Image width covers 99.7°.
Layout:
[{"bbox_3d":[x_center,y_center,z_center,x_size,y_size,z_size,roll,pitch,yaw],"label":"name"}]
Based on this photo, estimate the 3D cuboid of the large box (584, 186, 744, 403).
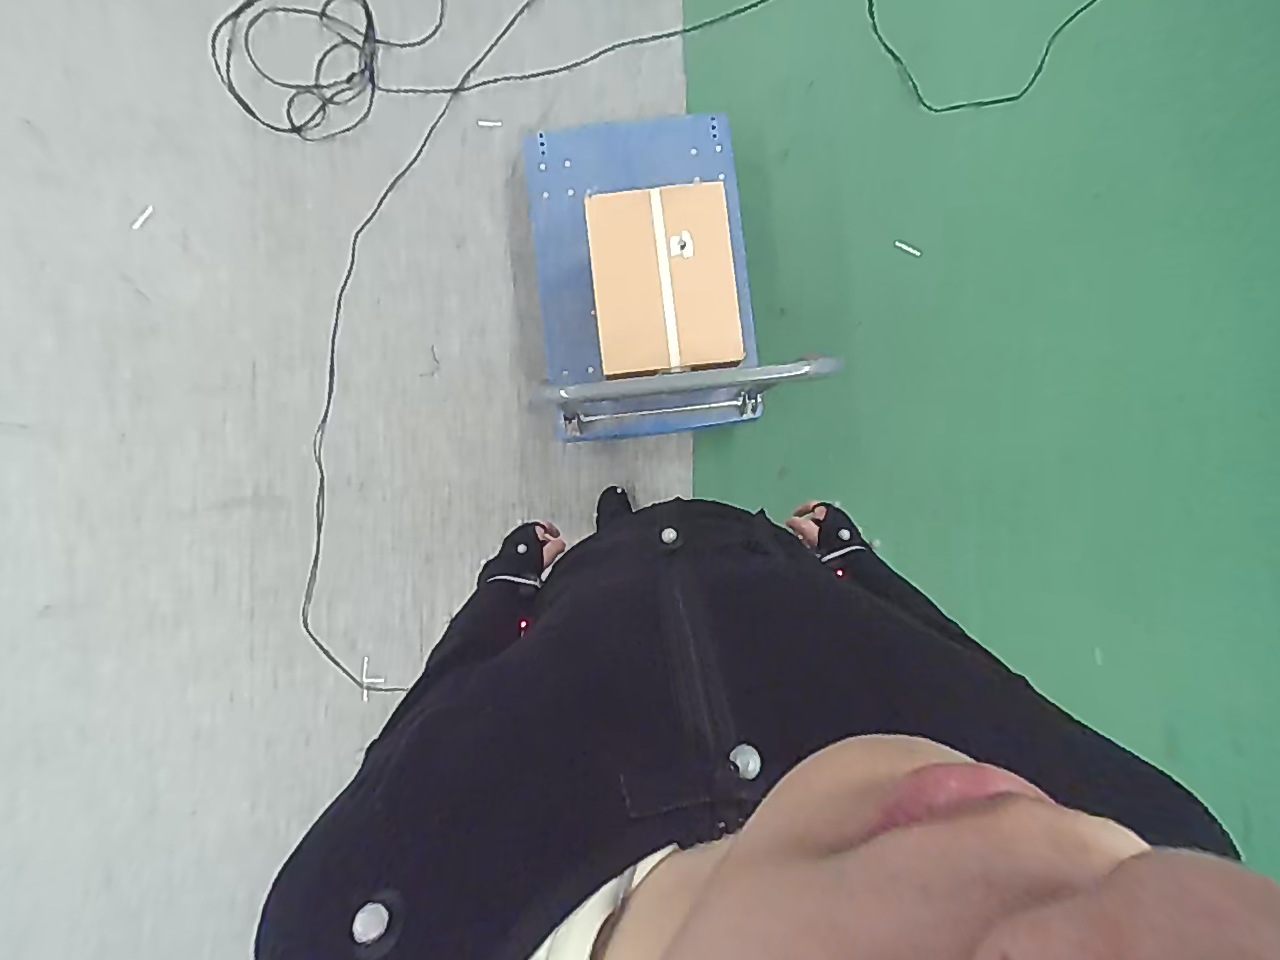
[{"bbox_3d":[0.050,-0.430,1.335,0.320,0.320,0.408,-7,87,-2],"label":"large box"}]
